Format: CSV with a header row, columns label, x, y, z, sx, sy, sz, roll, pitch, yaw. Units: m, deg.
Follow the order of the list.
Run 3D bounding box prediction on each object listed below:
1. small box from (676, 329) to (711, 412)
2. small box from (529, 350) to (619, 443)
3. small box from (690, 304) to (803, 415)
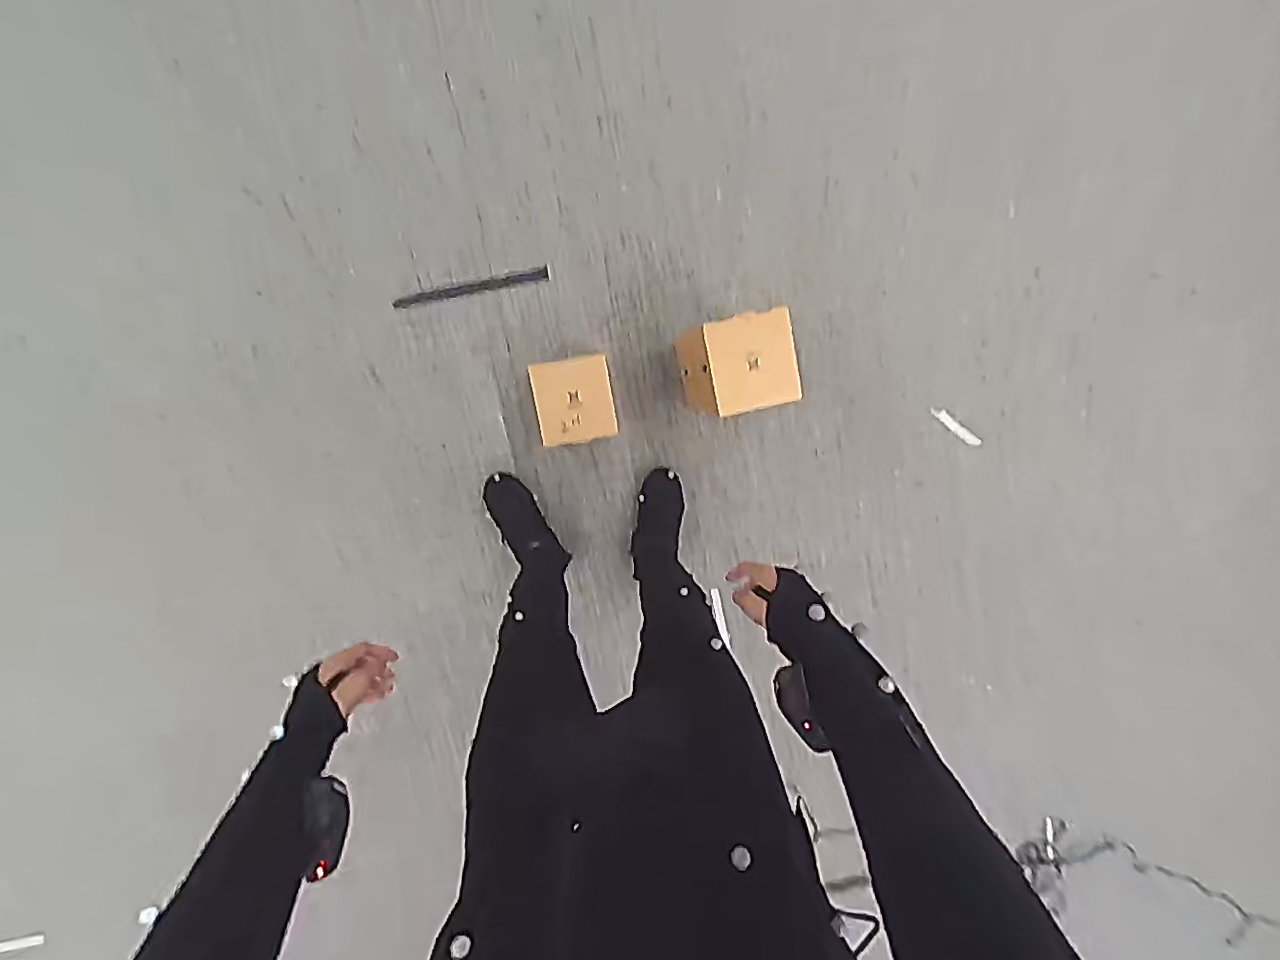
label,x,y,z,sx,sy,sz,roll,pitch,yaw
small box,0.186,-0.261,1.228,0.168,0.176,0.179,-14,100,-3
small box,-0.145,-0.187,1.210,0.168,0.176,0.179,-10,101,-3
small box,0.204,-0.234,1.068,0.168,0.176,0.179,-13,100,-3
